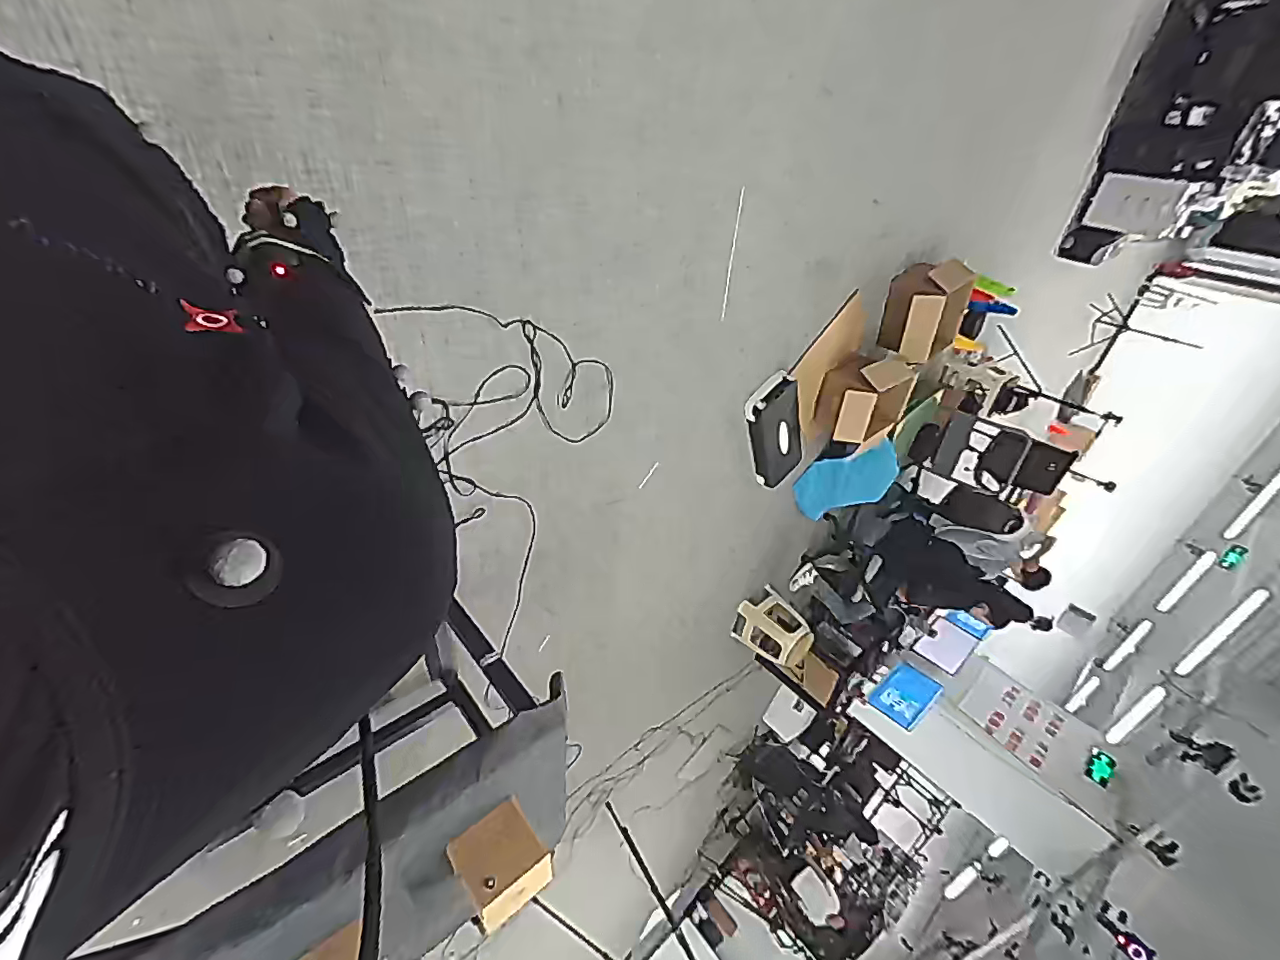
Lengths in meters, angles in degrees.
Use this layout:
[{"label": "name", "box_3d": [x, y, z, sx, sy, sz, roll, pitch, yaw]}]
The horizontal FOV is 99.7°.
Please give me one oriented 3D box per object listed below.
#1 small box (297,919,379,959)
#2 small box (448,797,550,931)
[{"label": "small box", "box_3d": [-0.609, 1.045, 1.091, 0.168, 0.176, 0.179, -19, 133, -37]}, {"label": "small box", "box_3d": [-0.333, 0.905, 1.288, 0.179, 0.176, 0.168, -24, 135, -34]}]
